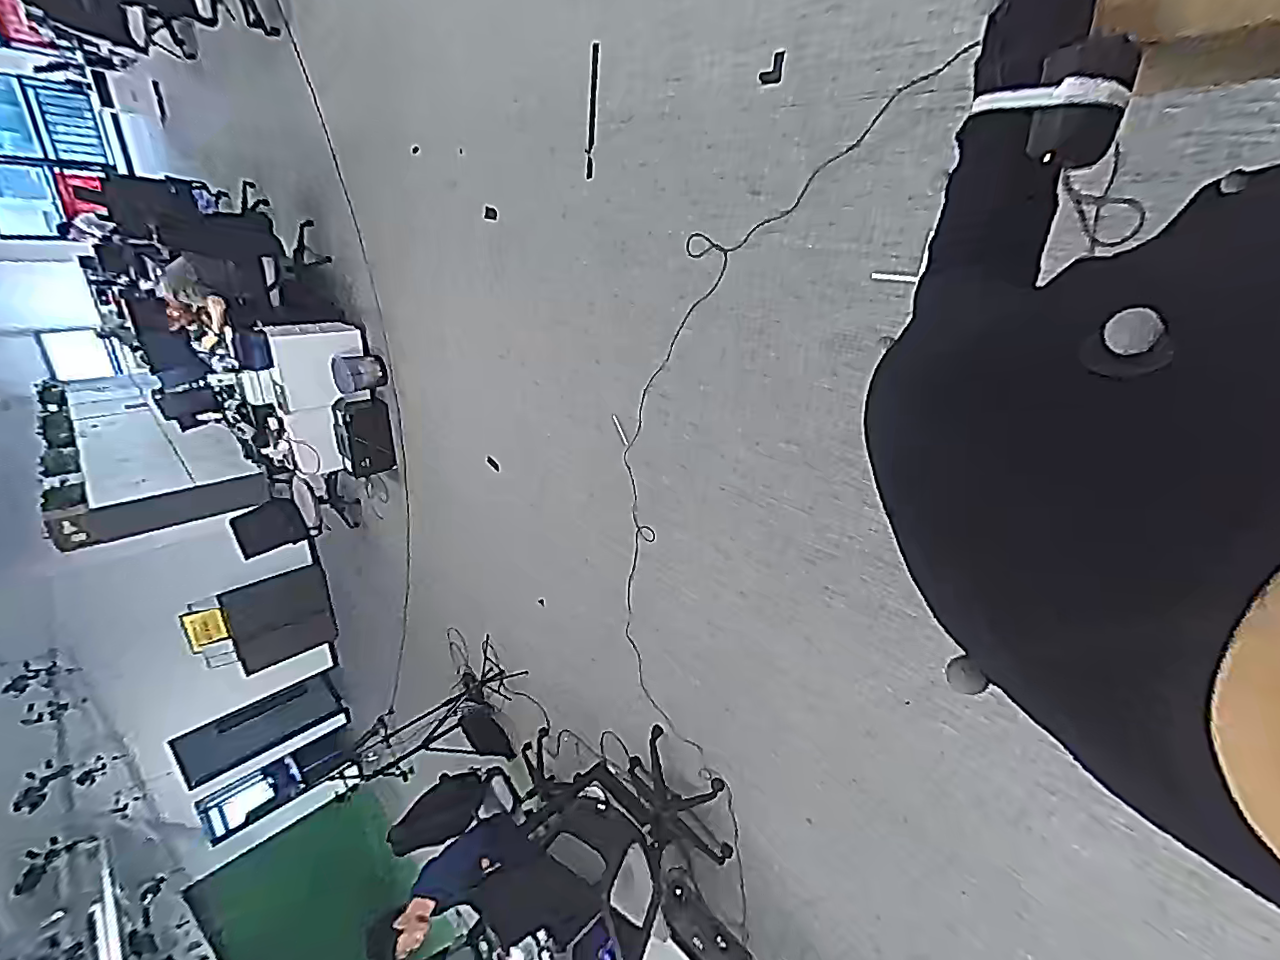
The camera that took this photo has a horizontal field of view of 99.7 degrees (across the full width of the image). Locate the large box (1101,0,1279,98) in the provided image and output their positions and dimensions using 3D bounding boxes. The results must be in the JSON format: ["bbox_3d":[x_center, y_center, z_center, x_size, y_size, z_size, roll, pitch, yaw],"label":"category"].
[{"bbox_3d":[0.537,-0.425,0.268,0.408,0.320,0.320,19,125,38],"label":"large box"}]
